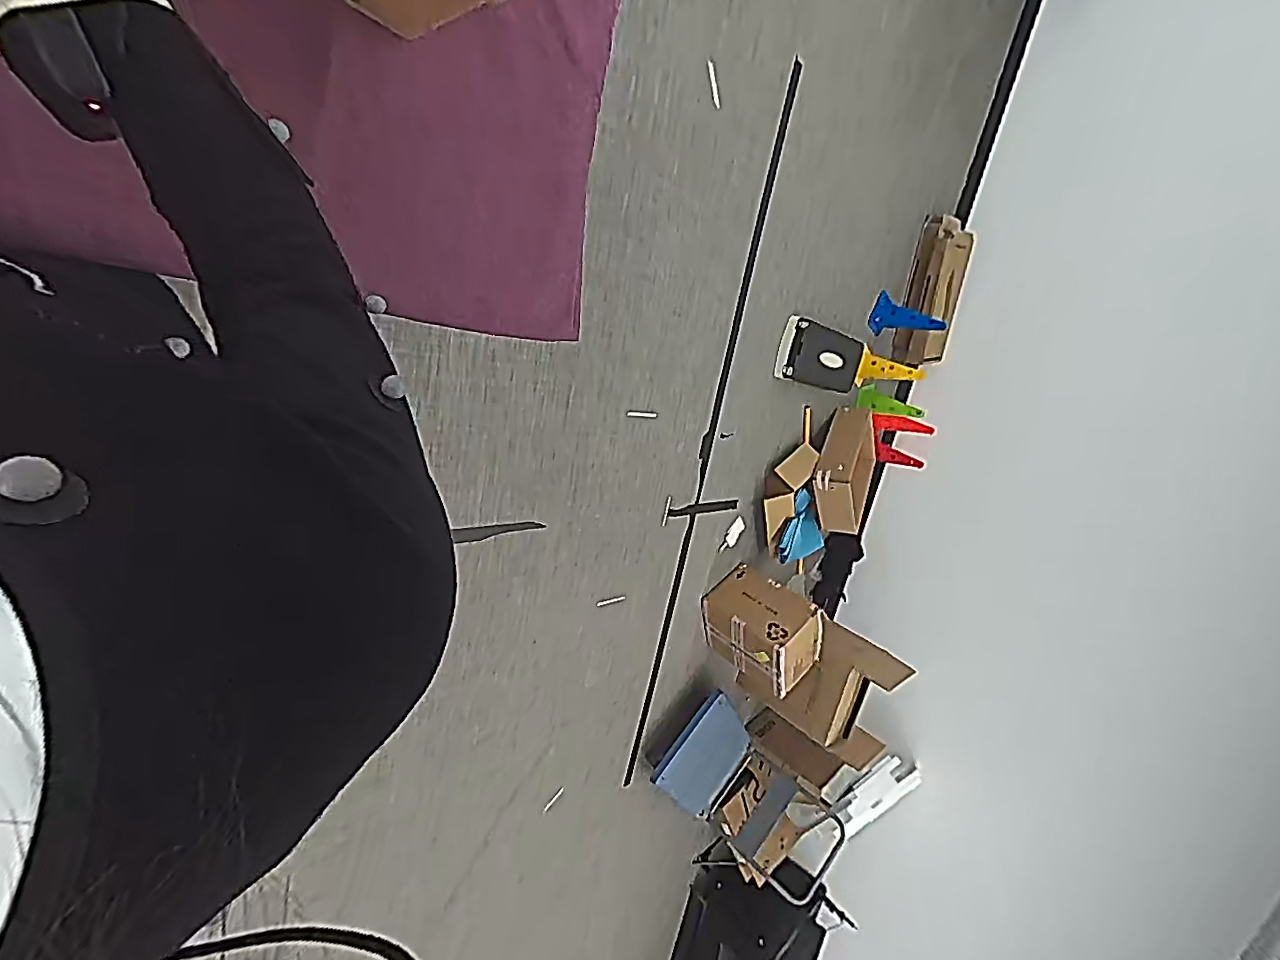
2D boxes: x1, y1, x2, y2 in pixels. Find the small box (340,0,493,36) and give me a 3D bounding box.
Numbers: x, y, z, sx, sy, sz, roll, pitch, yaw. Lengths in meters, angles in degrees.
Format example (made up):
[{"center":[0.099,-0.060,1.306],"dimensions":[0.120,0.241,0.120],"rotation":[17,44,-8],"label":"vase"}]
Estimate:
[{"center":[-0.210,-0.498,0.417],"dimensions":[0.168,0.176,0.179],"rotation":[1,109,-47],"label":"small box"}]
